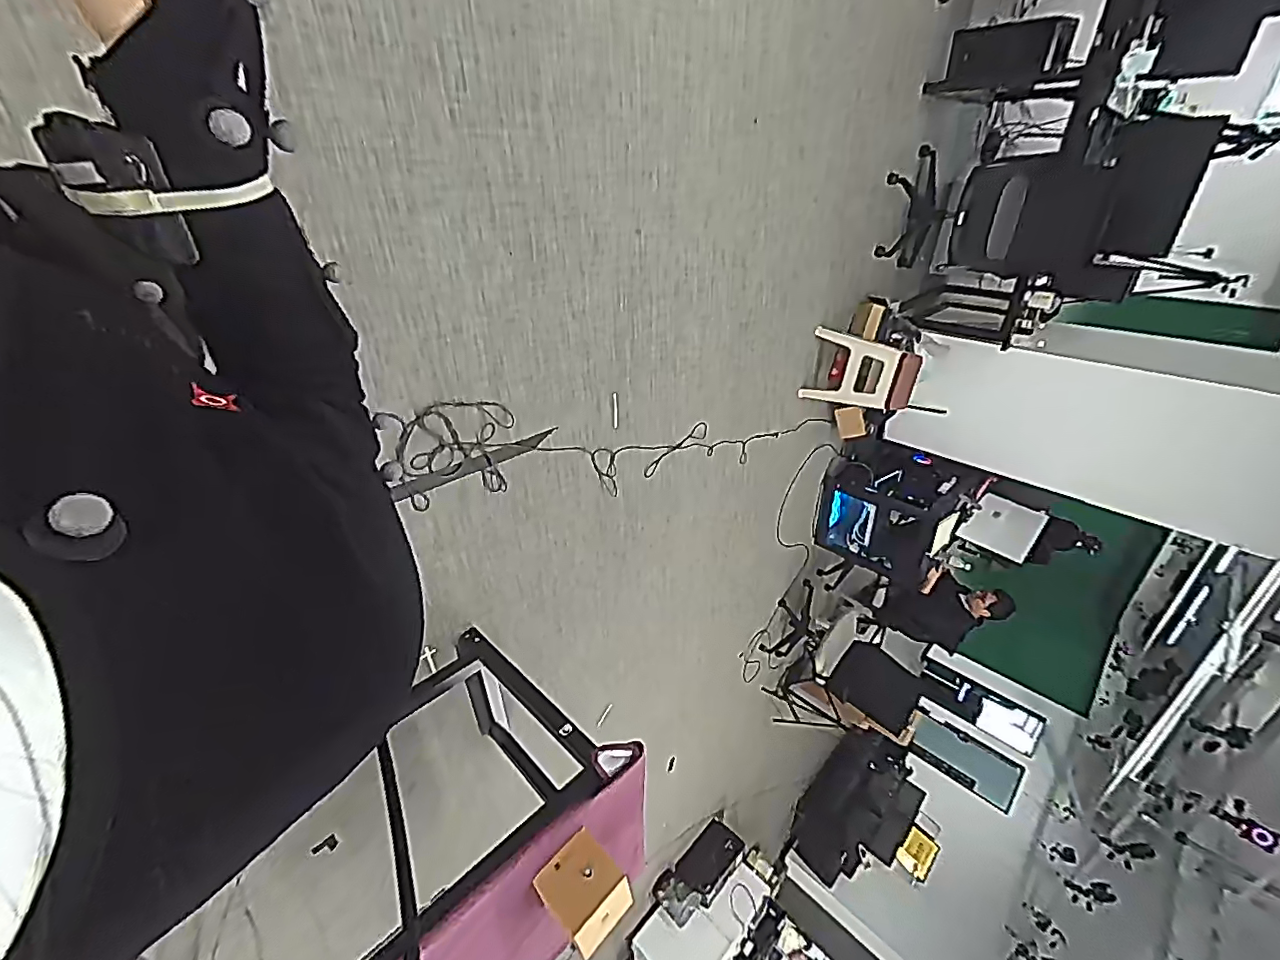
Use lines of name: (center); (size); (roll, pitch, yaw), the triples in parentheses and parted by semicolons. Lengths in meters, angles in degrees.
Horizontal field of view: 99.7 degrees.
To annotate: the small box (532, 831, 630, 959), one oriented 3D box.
small box: (-0.147, 1.023, 1.347); (0.168, 0.176, 0.179); (-33, 133, -33)
